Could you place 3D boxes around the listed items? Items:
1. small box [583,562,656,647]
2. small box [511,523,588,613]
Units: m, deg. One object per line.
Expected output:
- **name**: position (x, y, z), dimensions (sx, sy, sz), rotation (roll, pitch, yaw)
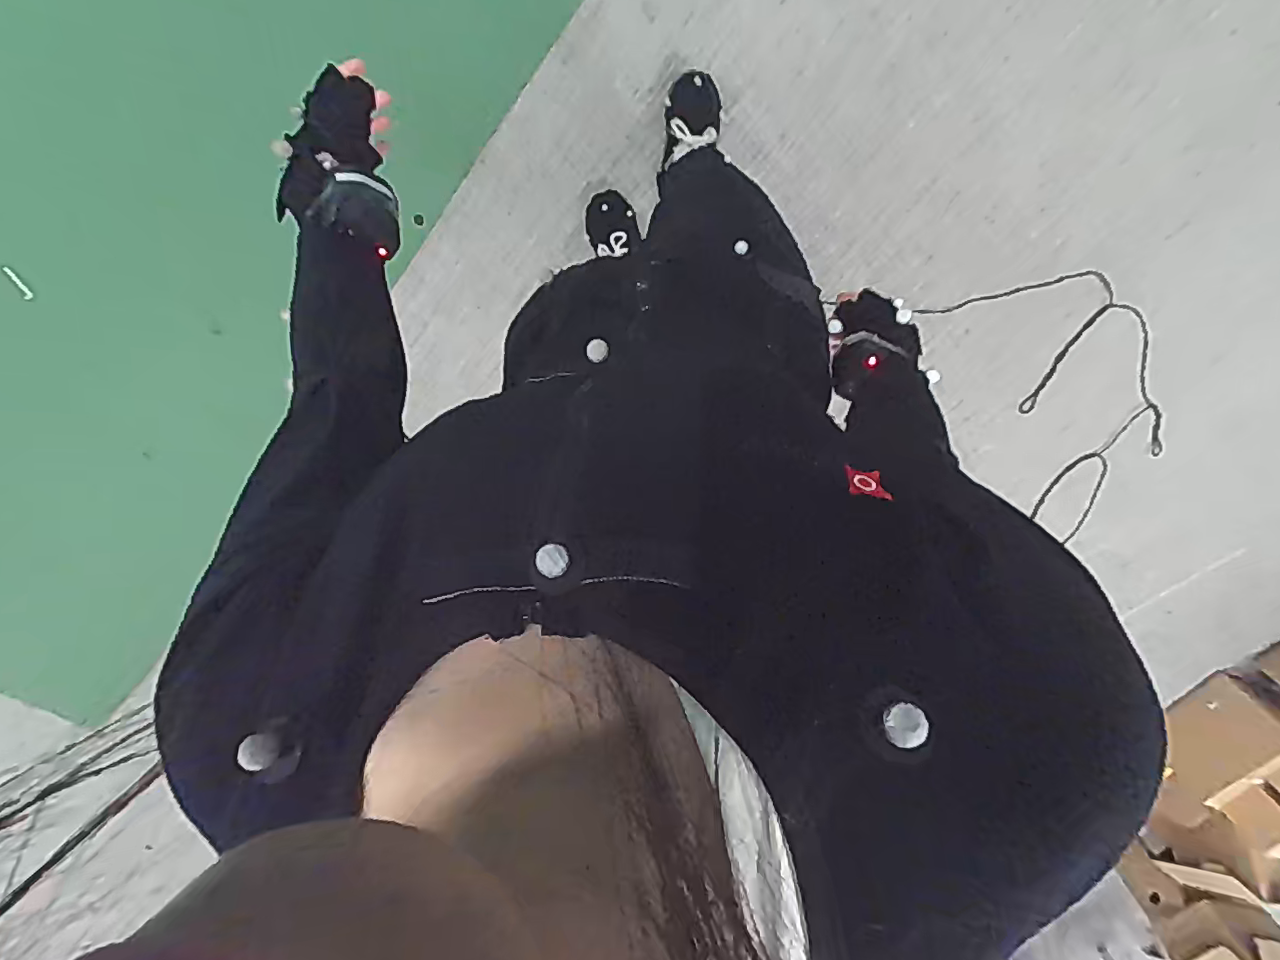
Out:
- **small box**: position (-0.068, 0.397, 1.746), dimensions (0.168, 0.176, 0.179), rotation (30, 116, -18)
- **small box**: position (-0.271, 0.270, 1.668), dimensions (0.168, 0.176, 0.179), rotation (33, 114, -20)
